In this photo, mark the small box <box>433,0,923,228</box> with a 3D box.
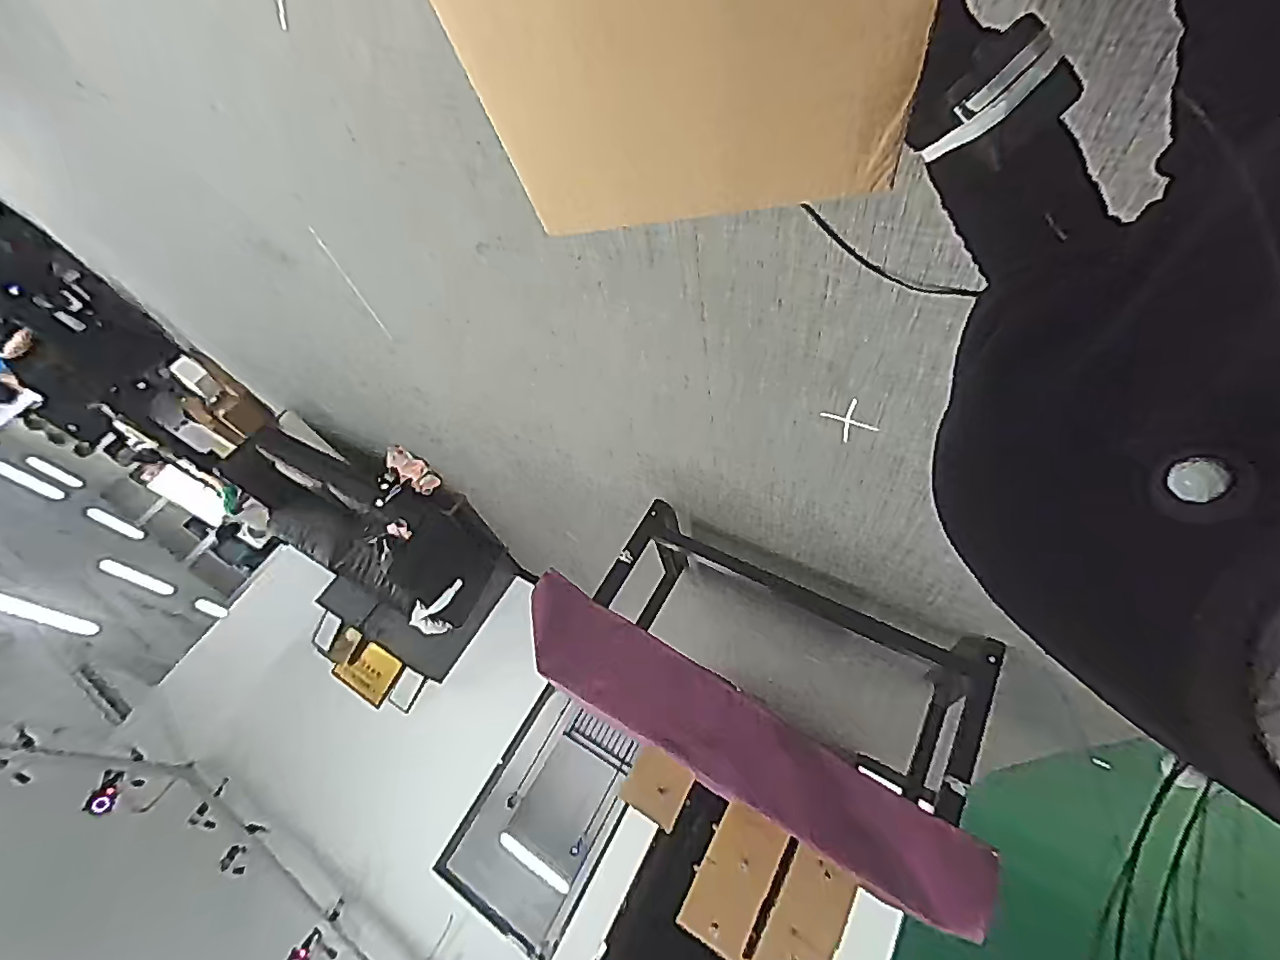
[{"bbox_3d":[0.017,-0.234,0.204,0.168,0.179,0.176,-1,159,13],"label":"small box"}]

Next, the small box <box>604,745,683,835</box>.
[{"bbox_3d":[0.015,0.916,1.609,0.179,0.176,0.168,25,154,16],"label":"small box"}]
